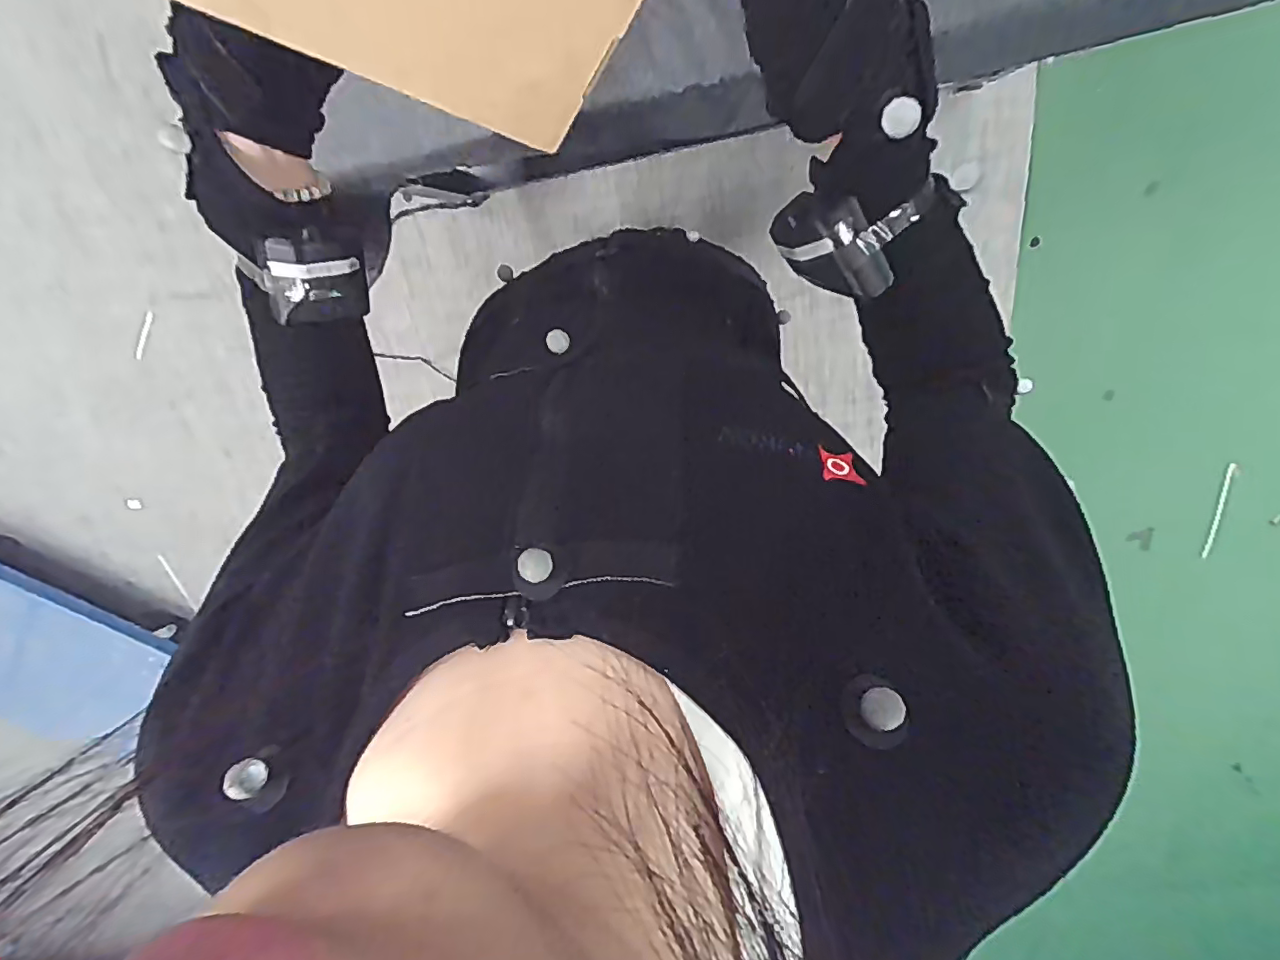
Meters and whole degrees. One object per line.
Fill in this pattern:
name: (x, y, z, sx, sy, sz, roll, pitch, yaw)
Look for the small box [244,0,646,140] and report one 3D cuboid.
small box: (-0.085, -0.276, 0.191, 0.168, 0.179, 0.176, -40, 69, 40)
